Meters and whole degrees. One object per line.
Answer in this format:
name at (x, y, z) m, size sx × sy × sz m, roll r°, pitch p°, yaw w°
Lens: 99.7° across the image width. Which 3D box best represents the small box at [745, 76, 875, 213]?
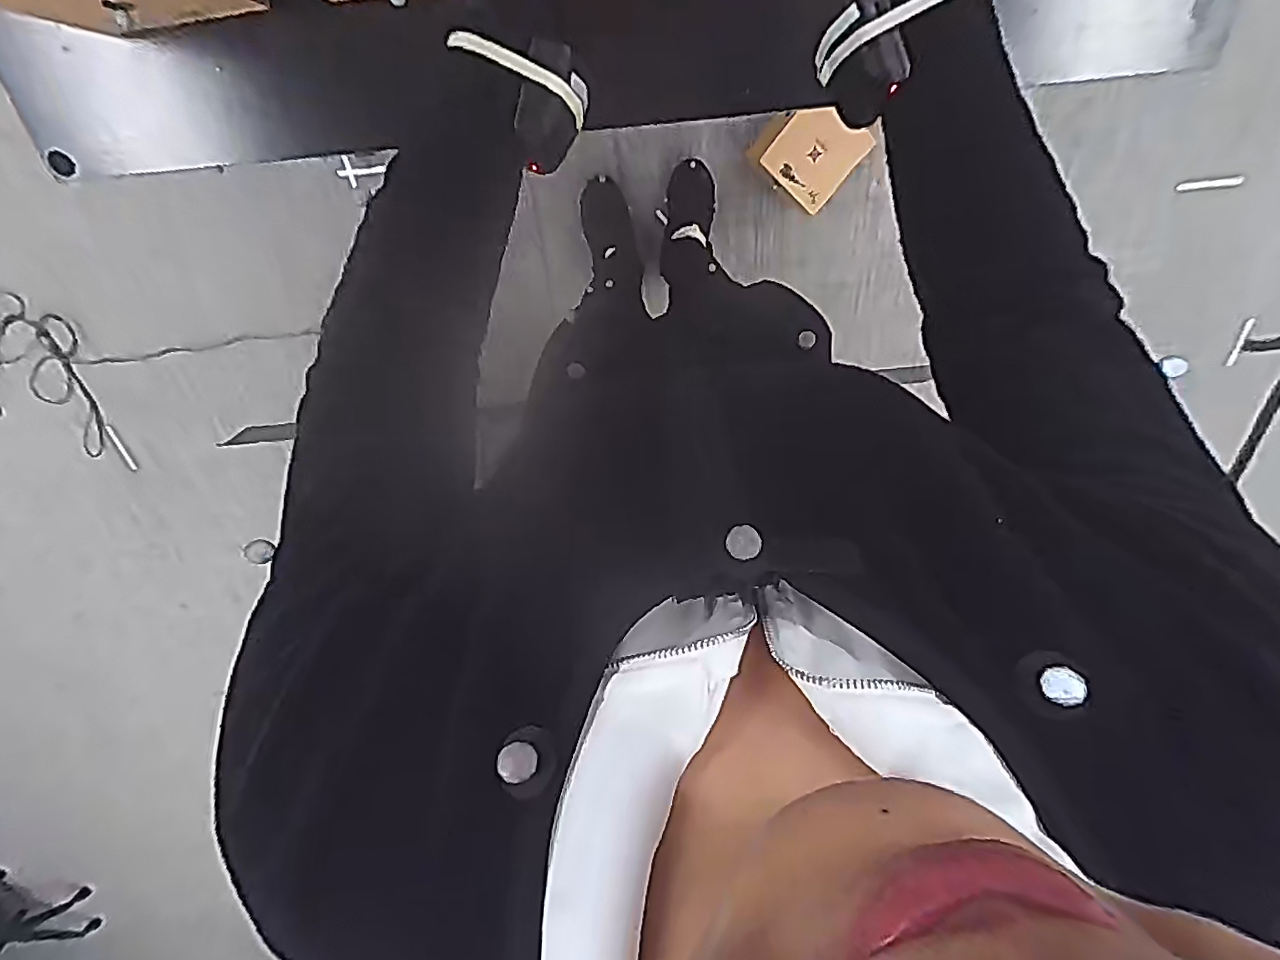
small box at (0.346, -0.700, 1.139) m, size 0.168 × 0.176 × 0.179 m, roll 33°, pitch 114°, yaw -20°
